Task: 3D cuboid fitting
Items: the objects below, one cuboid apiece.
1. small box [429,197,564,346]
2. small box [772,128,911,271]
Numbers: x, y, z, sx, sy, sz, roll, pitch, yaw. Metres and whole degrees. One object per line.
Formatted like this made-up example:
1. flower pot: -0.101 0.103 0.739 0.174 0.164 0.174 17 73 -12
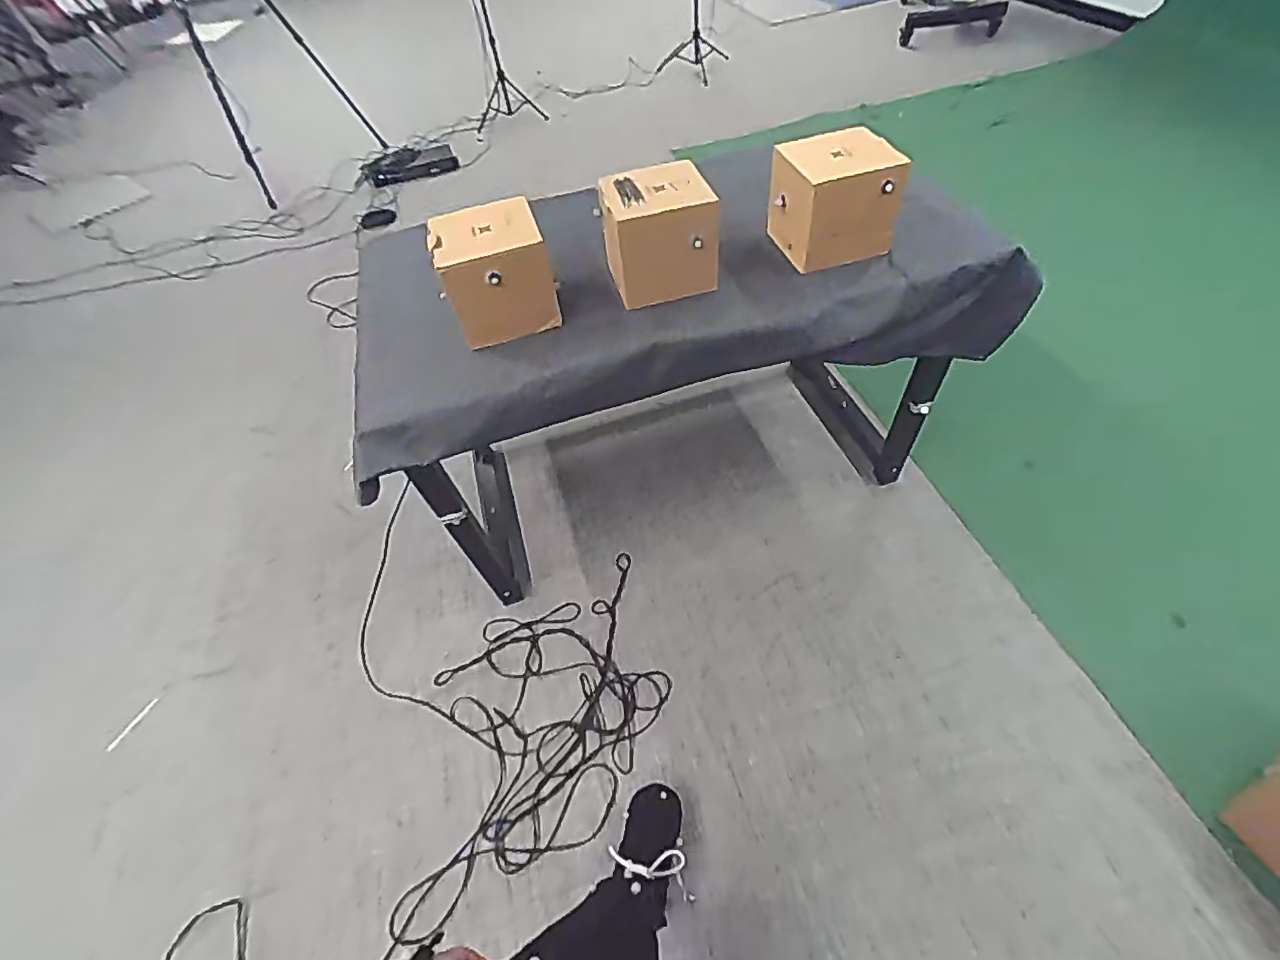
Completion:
1. small box: -0.249 -0.361 0.952 0.179 0.176 0.168 -17 54 -7
2. small box: 0.352 -0.507 0.987 0.179 0.176 0.168 -15 53 -5
